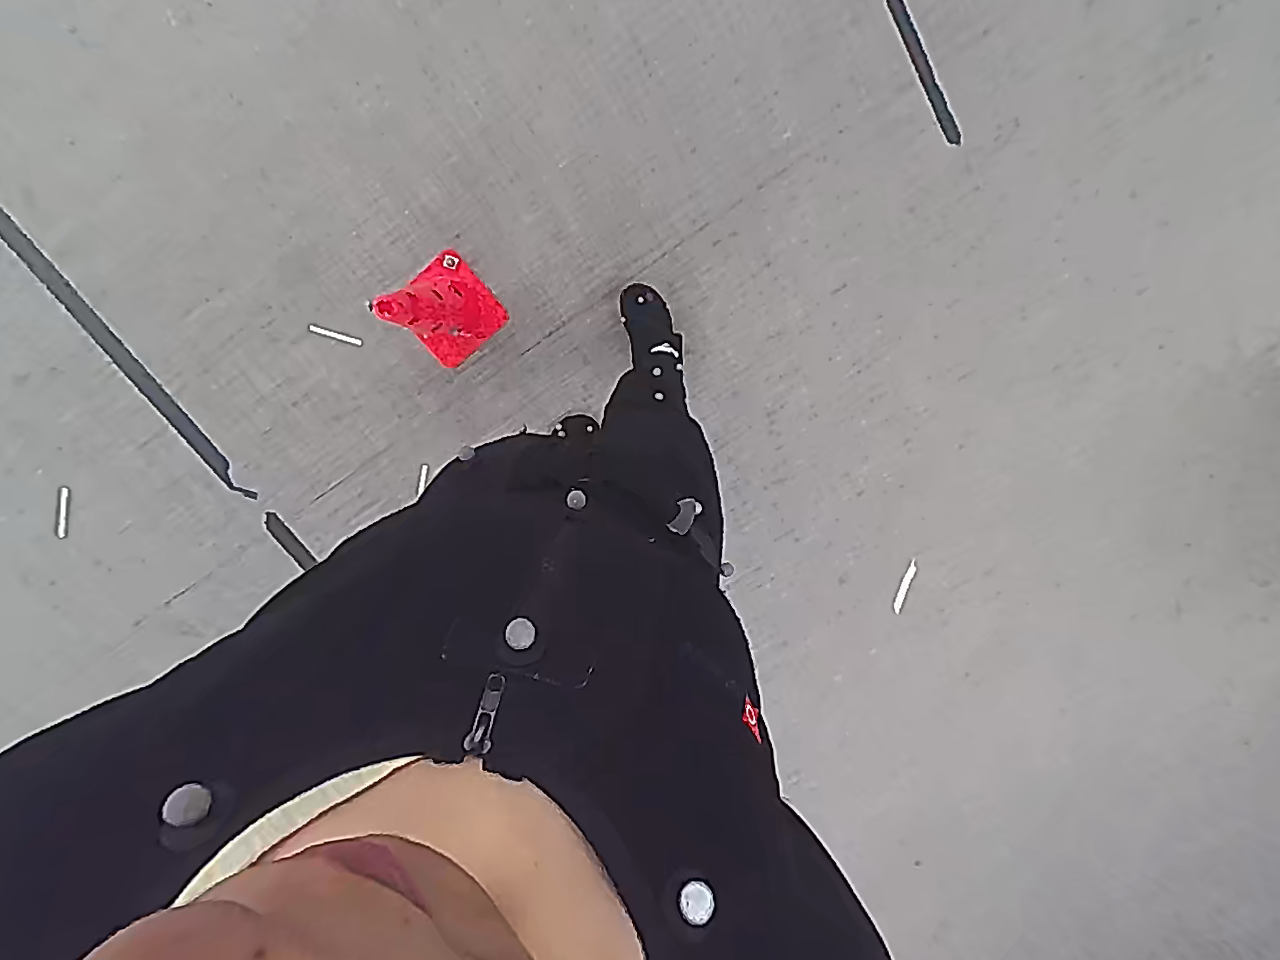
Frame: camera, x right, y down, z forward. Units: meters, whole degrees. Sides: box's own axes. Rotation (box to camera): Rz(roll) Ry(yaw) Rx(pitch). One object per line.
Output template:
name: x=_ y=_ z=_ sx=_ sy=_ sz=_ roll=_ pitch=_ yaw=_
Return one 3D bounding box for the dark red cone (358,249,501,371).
dark red cone: x=-0.434 y=-0.325 z=1.044 sx=0.201 sy=0.394 sz=0.202 roll=-39 pitch=104 yaw=11
